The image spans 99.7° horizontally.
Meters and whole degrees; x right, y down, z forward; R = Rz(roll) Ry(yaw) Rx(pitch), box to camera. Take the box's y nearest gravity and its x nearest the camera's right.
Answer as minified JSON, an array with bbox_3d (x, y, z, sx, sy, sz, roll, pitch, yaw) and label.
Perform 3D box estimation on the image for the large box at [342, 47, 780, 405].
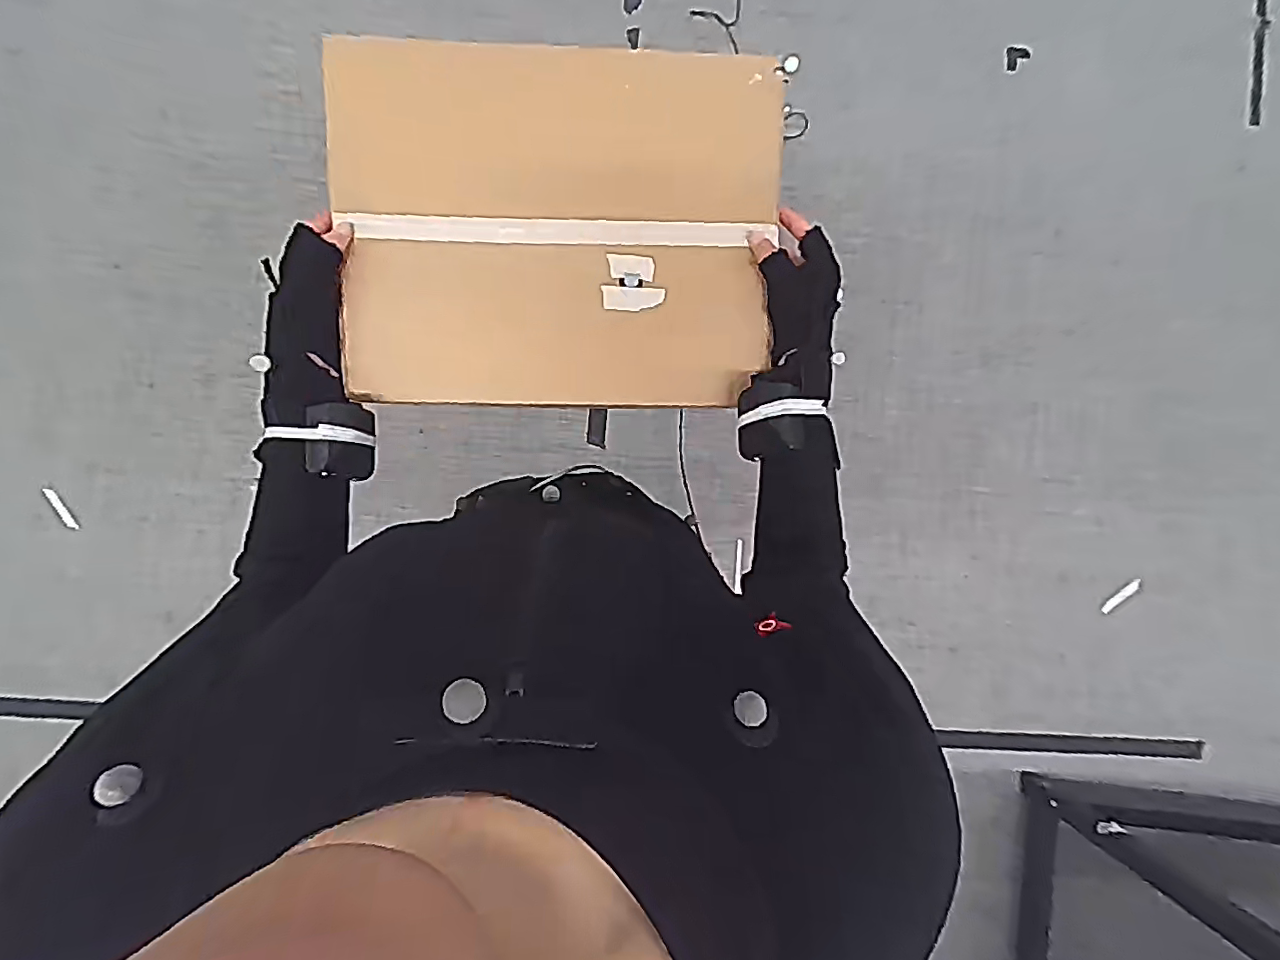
[{"bbox_3d":[-0.080,-0.250,0.657,0.408,0.320,0.320,1,98,-4],"label":"large box"}]
